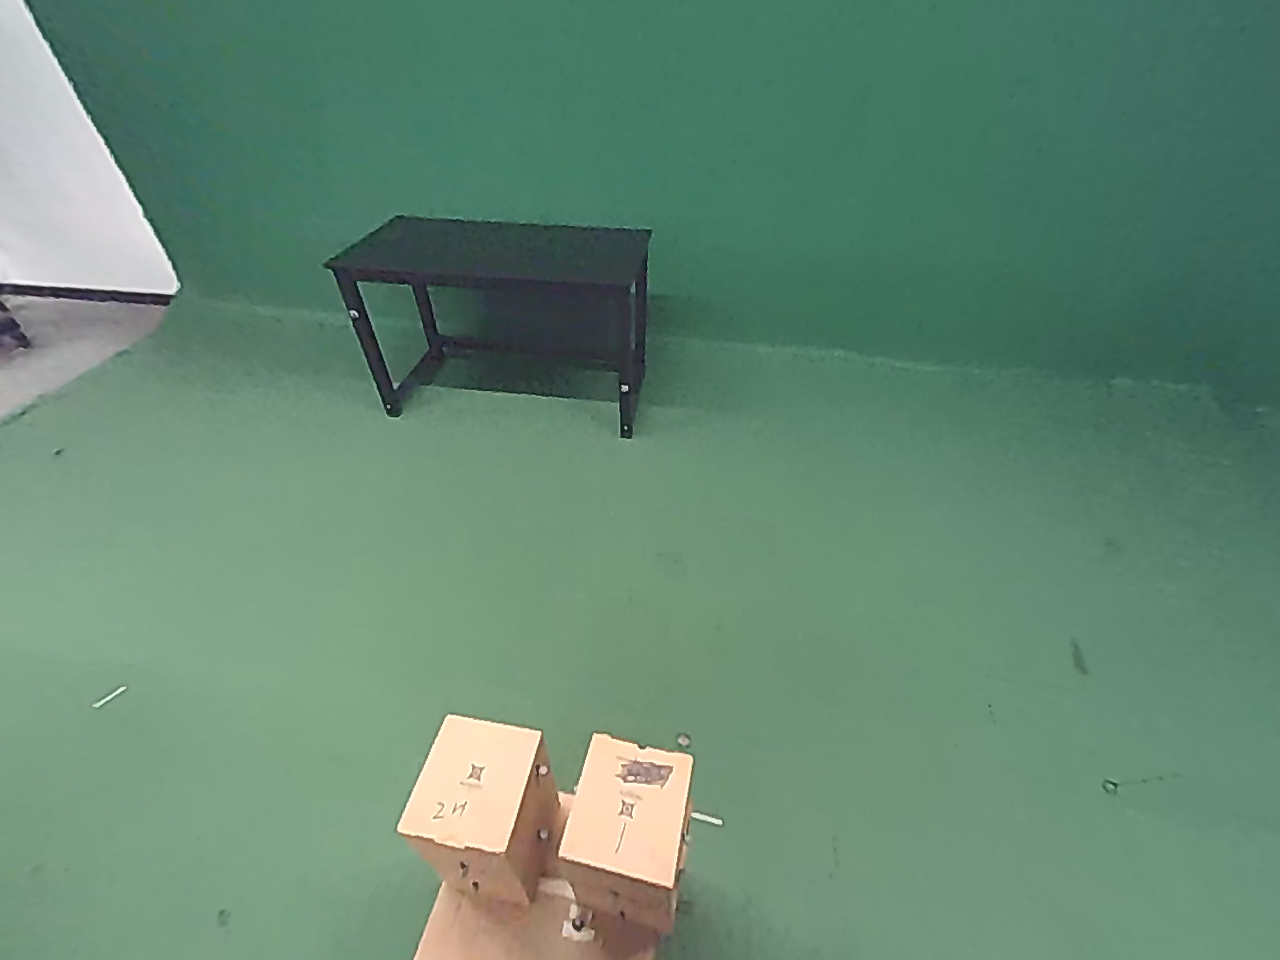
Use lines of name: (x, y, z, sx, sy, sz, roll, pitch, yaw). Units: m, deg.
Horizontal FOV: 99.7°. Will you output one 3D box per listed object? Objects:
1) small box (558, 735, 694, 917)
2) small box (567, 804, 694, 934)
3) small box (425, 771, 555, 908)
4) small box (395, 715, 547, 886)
small box: (-0.014, 0.532, 0.836, 0.168, 0.176, 0.179, 8, 43, 11)
small box: (-0.011, 0.657, 0.944, 0.179, 0.176, 0.168, 10, 42, 12)
small box: (-0.257, 0.632, 0.976, 0.168, 0.176, 0.179, 8, 42, 8)
small box: (-0.254, 0.510, 0.865, 0.168, 0.176, 0.179, 7, 42, 7)
